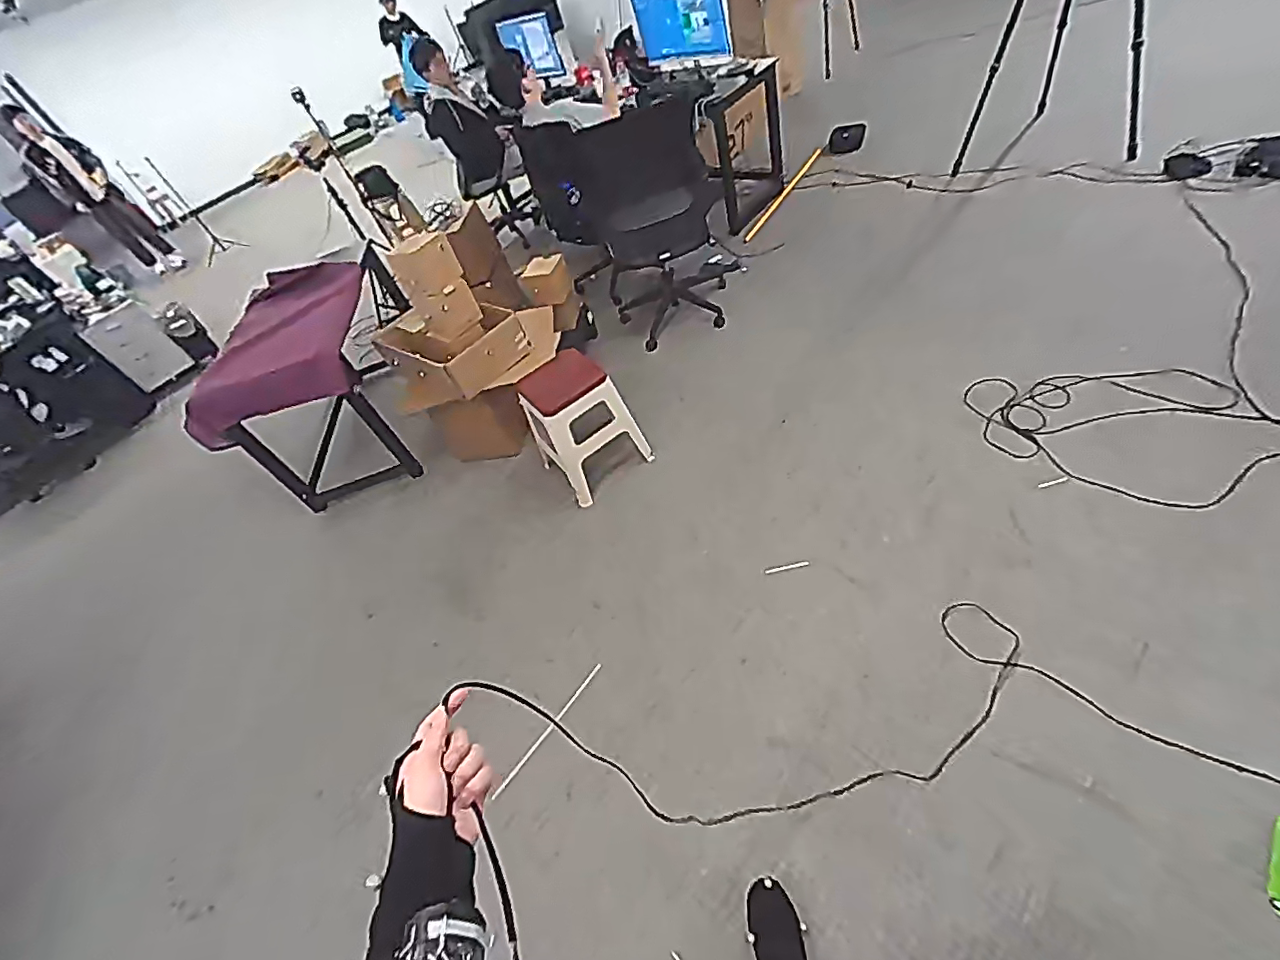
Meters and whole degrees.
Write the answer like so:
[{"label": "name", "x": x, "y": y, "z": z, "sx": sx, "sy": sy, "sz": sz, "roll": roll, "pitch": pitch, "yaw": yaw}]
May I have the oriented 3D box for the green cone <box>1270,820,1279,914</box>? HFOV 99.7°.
[{"label": "green cone", "x": 1.288, "y": 0.673, "z": 0.892, "sx": 0.200, "sy": 0.368, "sz": 0.202, "roll": 23, "pitch": 60, "yaw": 34}]
